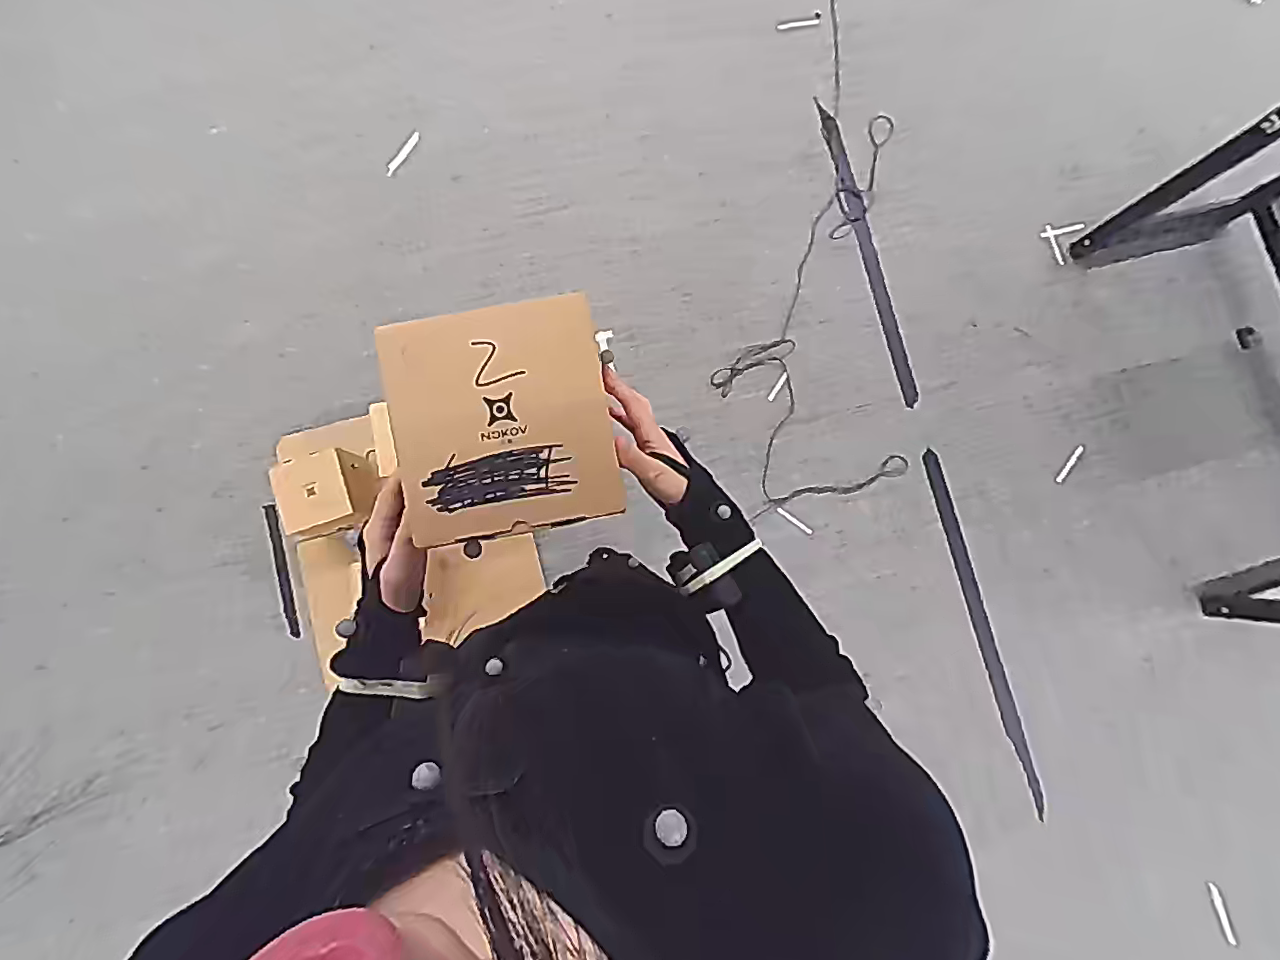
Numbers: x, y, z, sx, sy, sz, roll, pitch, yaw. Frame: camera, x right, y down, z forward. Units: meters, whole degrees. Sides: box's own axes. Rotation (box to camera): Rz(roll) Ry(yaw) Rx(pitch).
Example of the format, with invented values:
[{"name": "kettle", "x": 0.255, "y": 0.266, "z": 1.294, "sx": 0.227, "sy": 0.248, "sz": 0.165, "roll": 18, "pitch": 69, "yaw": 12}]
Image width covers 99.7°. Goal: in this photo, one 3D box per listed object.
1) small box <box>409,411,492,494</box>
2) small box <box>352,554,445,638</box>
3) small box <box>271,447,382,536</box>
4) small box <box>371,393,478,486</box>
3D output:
[{"name": "small box", "x": -0.503, "y": -0.065, "z": 1.413, "sx": 0.179, "sy": 0.176, "sz": 0.168, "roll": -14, "pitch": 84, "yaw": -6}, {"name": "small box", "x": -0.598, "y": 0.285, "z": 1.359, "sx": 0.168, "sy": 0.176, "sz": 0.179, "roll": -6, "pitch": 84, "yaw": -5}, {"name": "small box", "x": -0.793, "y": 0.036, "z": 1.382, "sx": 0.168, "sy": 0.176, "sz": 0.179, "roll": -20, "pitch": 84, "yaw": -5}, {"name": "small box", "x": -0.492, "y": -0.088, "z": 1.253, "sx": 0.179, "sy": 0.176, "sz": 0.168, "roll": -11, "pitch": 83, "yaw": -6}]
